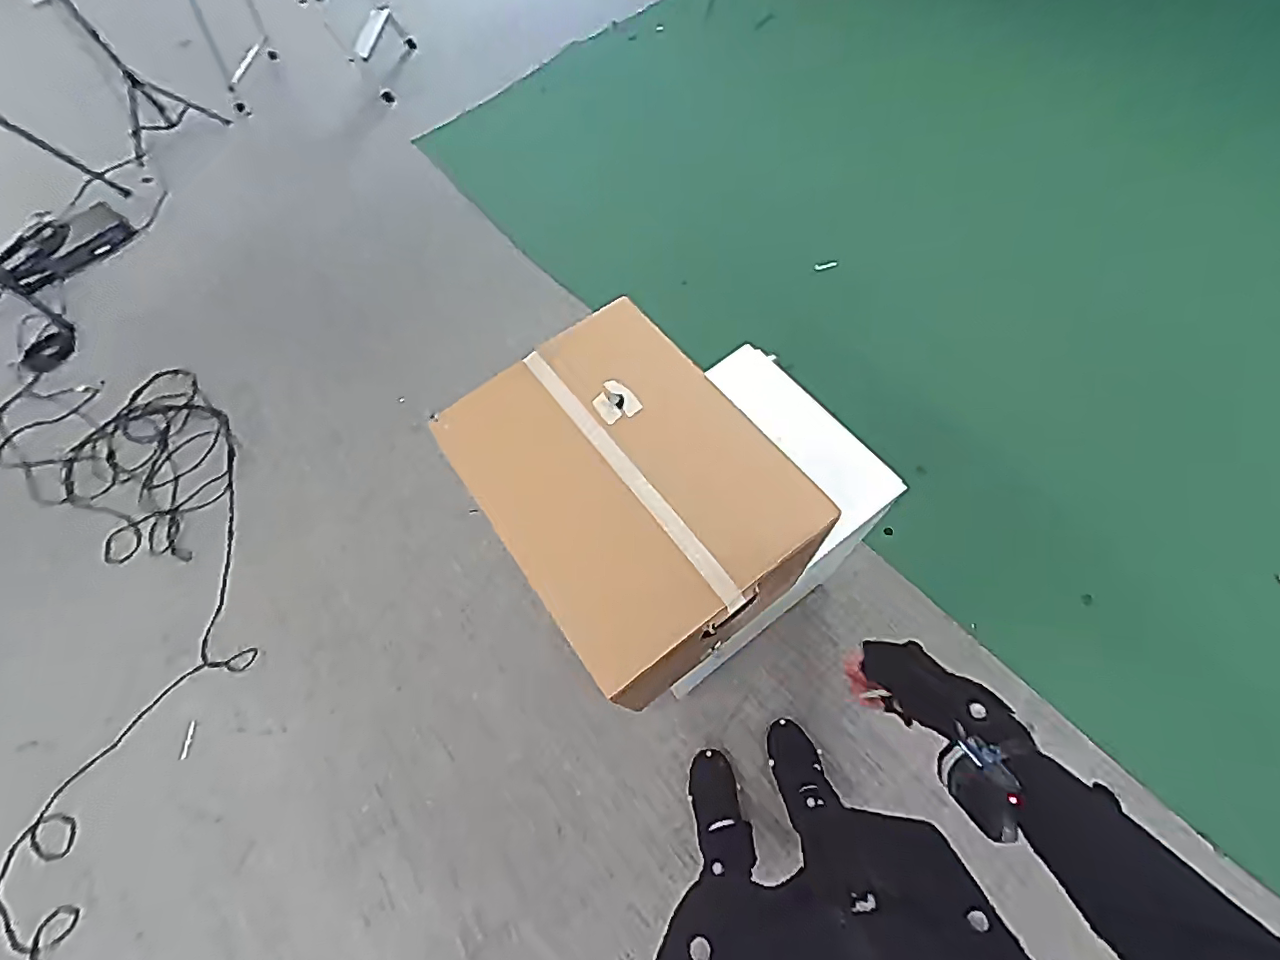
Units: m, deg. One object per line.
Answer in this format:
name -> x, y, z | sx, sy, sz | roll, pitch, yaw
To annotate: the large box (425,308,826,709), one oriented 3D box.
large box -> -0.016, 0.051, 0.761 | 0.320, 0.320, 0.408 | -36, 64, -10
